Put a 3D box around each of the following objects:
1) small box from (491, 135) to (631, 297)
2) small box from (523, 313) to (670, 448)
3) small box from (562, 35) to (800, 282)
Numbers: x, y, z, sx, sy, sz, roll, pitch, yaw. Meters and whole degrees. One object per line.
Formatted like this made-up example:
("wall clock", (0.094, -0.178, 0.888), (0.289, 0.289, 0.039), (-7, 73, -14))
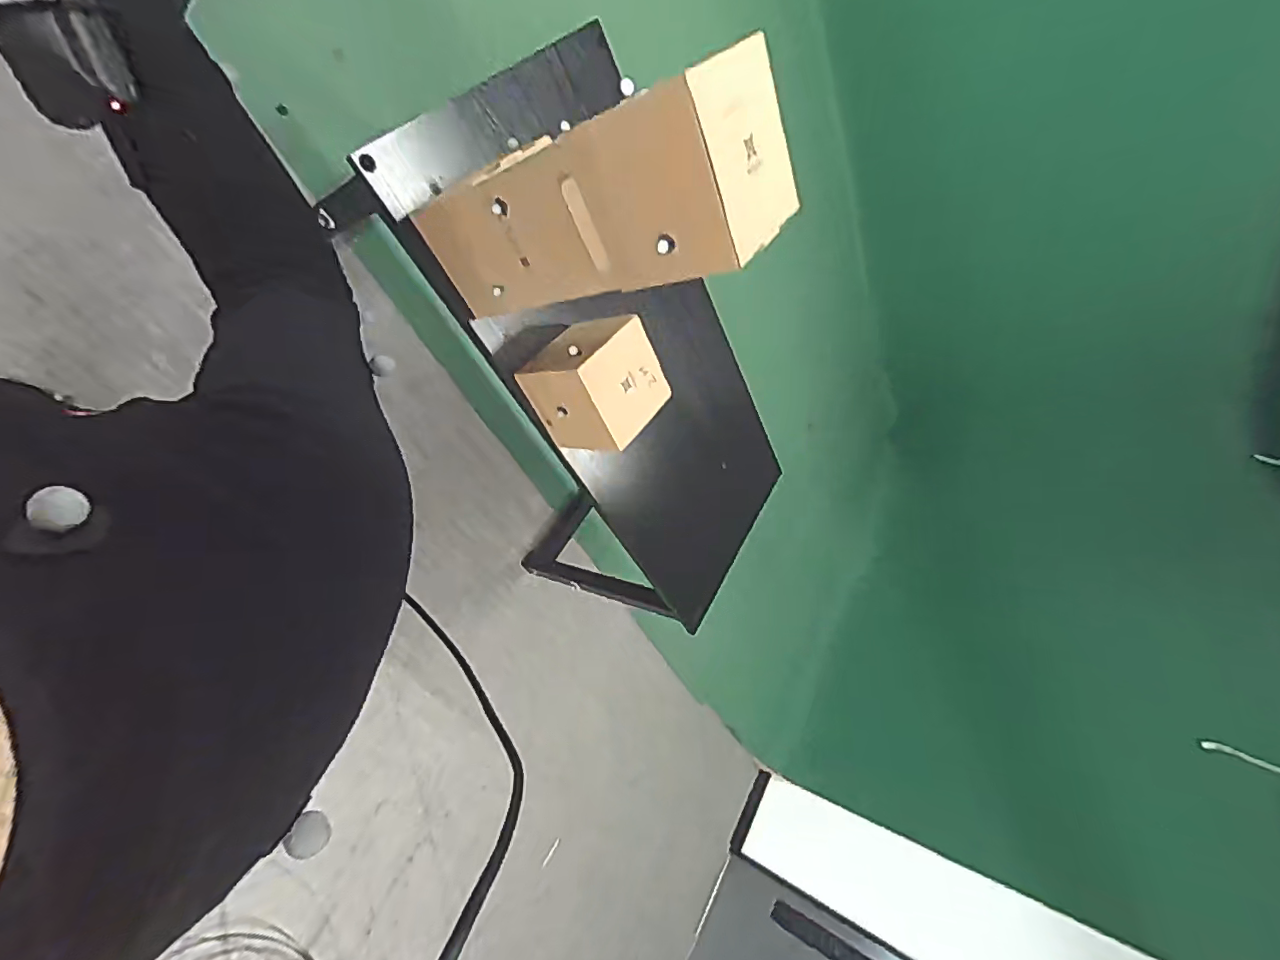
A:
("small box", (-0.067, -0.357, 0.704), (0.179, 0.176, 0.168), (-51, 131, -31))
("small box", (-0.082, -0.174, 0.962), (0.179, 0.176, 0.168), (-50, 130, -31))
("small box", (0.050, -0.335, 0.593), (0.168, 0.176, 0.179), (-52, 130, -32))
